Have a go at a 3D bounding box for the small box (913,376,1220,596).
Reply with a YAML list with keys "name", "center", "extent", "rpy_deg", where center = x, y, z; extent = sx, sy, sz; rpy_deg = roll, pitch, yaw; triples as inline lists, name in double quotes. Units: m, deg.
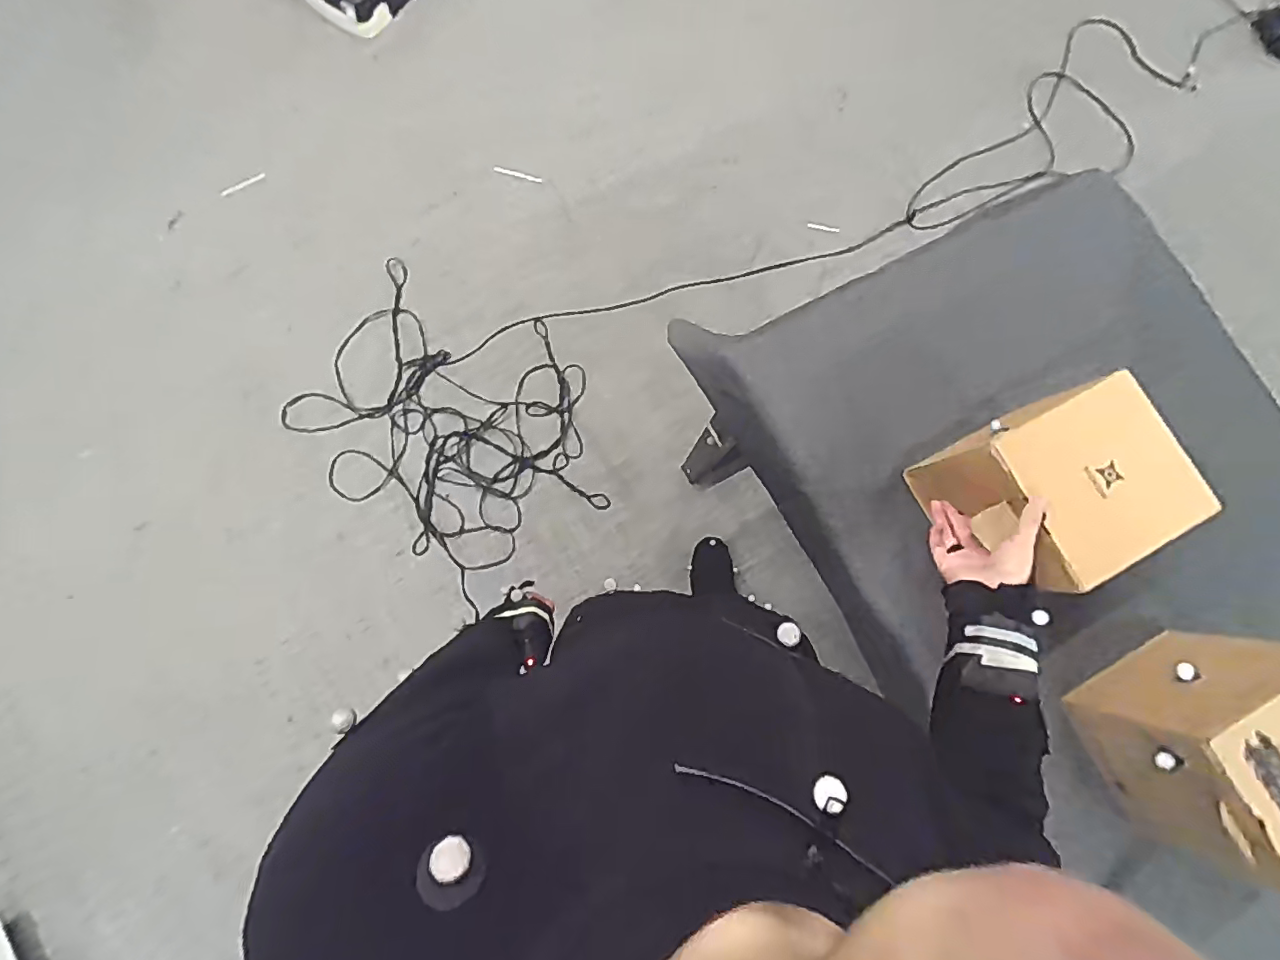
- name: "small box"
  center: [0.457, 0.013, 0.611]
  extent: [0.179, 0.176, 0.168]
  rpy_deg: [-28, 83, -6]
